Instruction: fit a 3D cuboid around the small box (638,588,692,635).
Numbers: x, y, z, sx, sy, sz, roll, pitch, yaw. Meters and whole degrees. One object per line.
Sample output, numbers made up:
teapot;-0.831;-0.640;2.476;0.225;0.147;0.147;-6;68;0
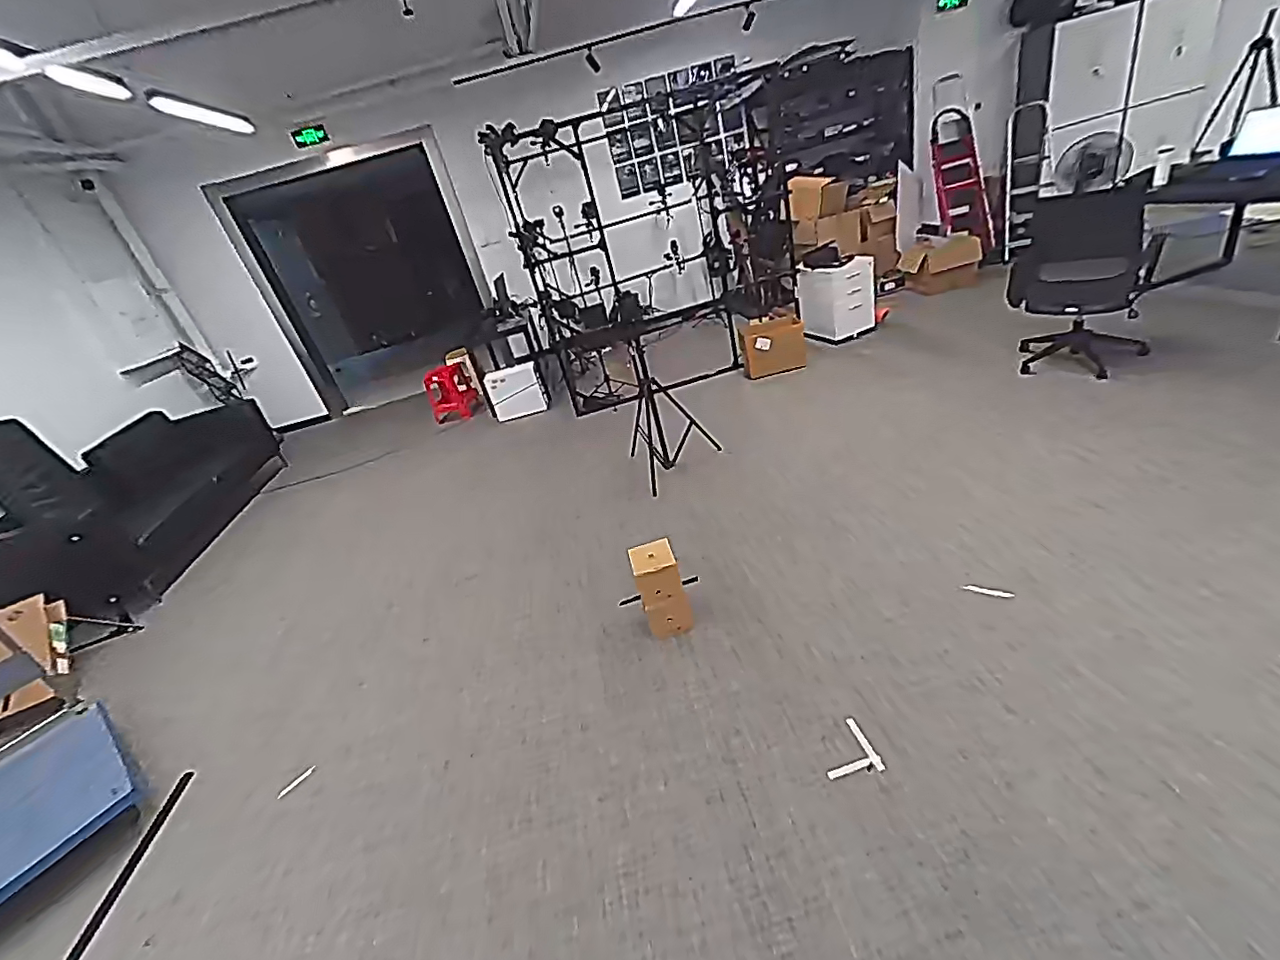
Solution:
small box;0.101;0.503;2.182;0.168;0.176;0.179;-18;28;-4

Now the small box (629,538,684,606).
small box;0.063;0.360;2.113;0.168;0.176;0.179;-17;29;-2
